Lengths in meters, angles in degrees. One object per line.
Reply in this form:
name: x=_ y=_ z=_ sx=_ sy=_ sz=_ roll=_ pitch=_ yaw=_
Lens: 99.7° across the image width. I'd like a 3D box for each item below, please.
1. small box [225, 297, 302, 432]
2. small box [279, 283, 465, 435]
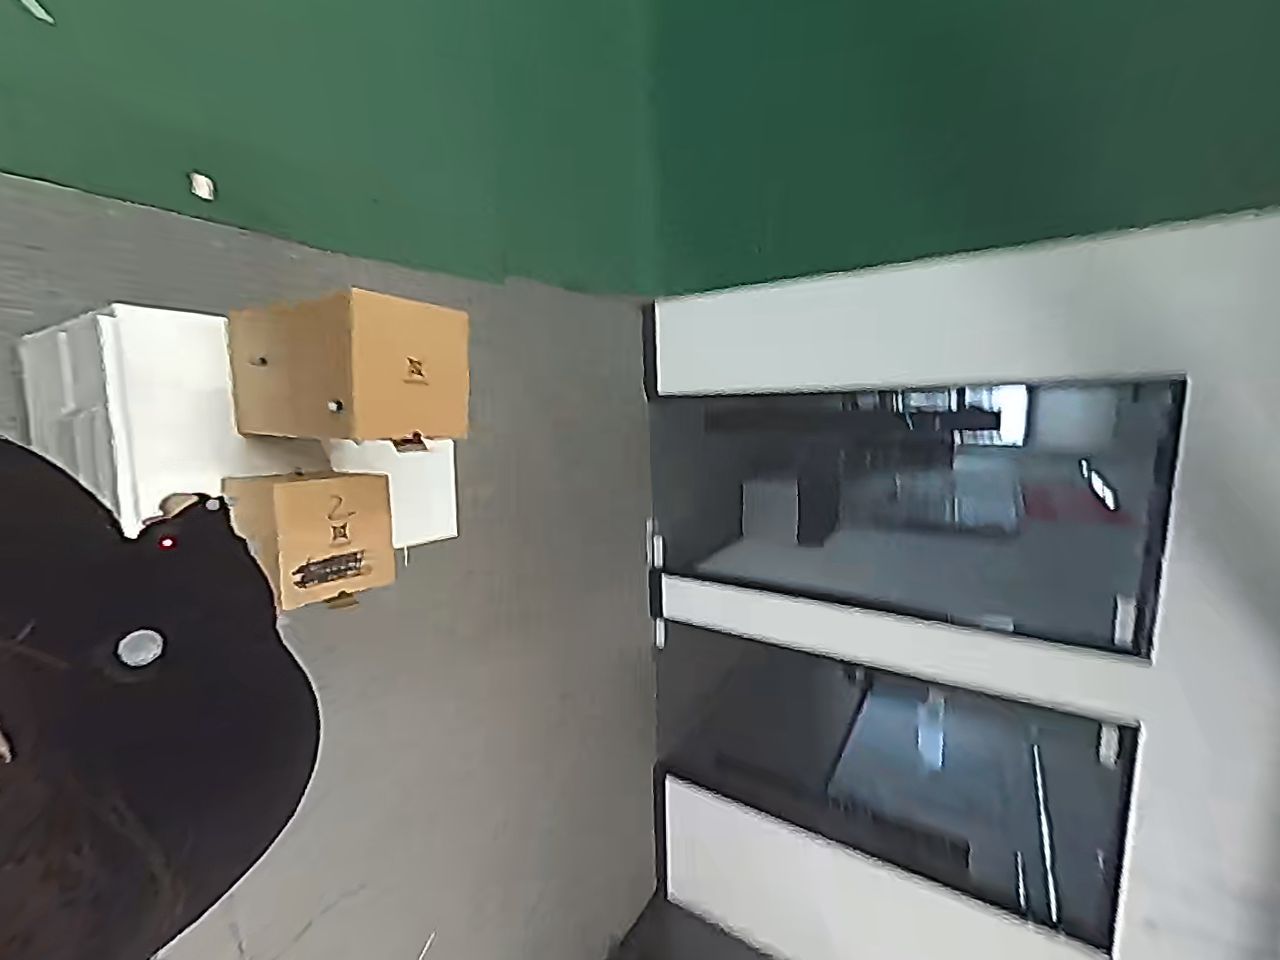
small box: x=-0.494 y=-0.163 z=0.816 sx=0.168 sy=0.176 sz=0.179 roll=-12 pitch=104 yaw=-57
small box: x=-0.357 y=-0.151 z=0.727 sx=0.168 sy=0.176 sz=0.179 roll=-8 pitch=103 yaw=-58
